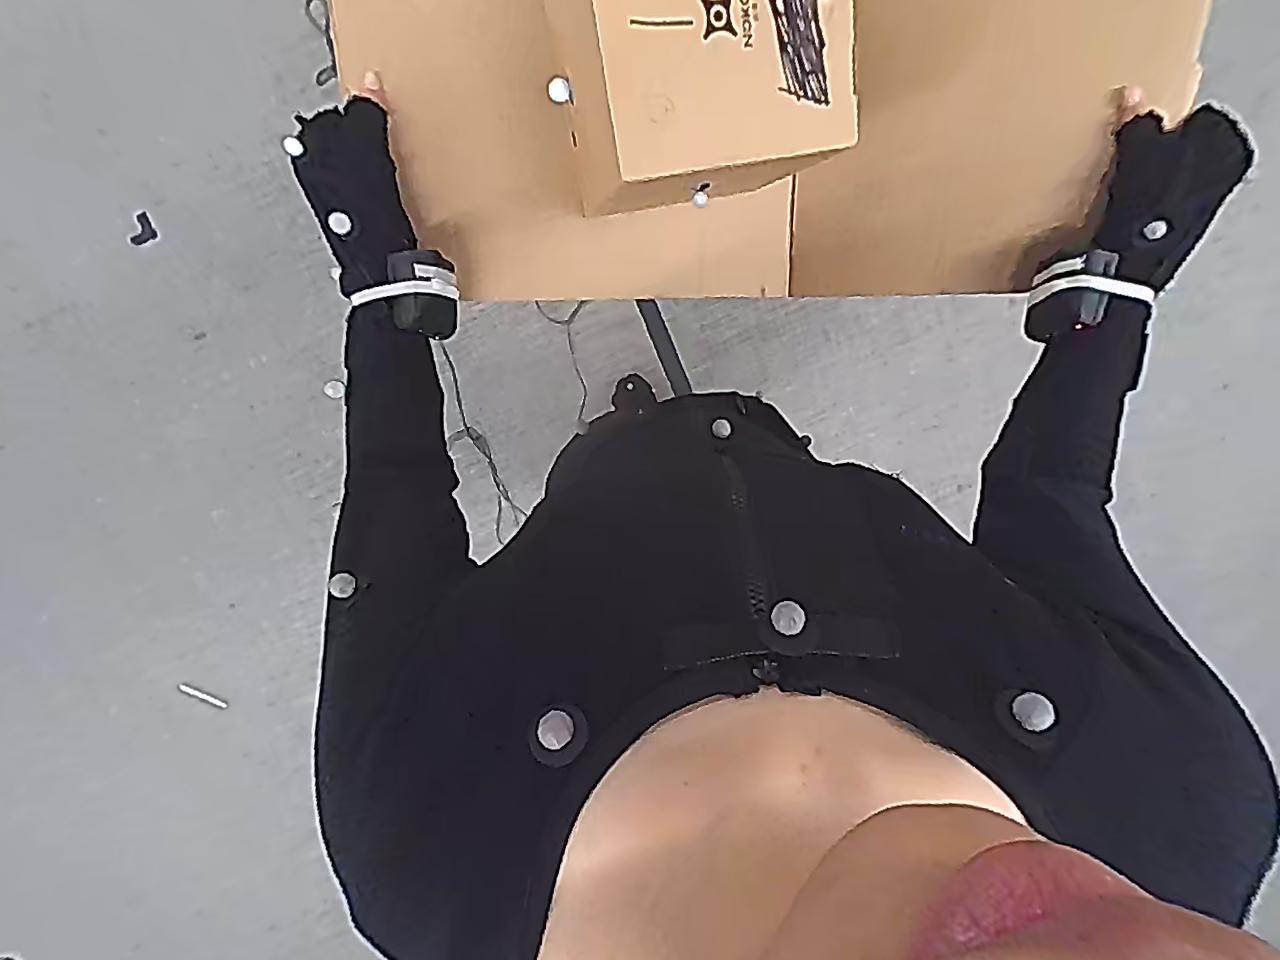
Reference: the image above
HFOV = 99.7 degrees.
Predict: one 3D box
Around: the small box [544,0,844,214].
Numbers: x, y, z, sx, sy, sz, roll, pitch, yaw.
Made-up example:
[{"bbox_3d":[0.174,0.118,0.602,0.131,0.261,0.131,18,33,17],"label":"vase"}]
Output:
[{"bbox_3d":[0.032,-0.319,0.421,0.179,0.176,0.168,-14,110,-9],"label":"small box"}]
